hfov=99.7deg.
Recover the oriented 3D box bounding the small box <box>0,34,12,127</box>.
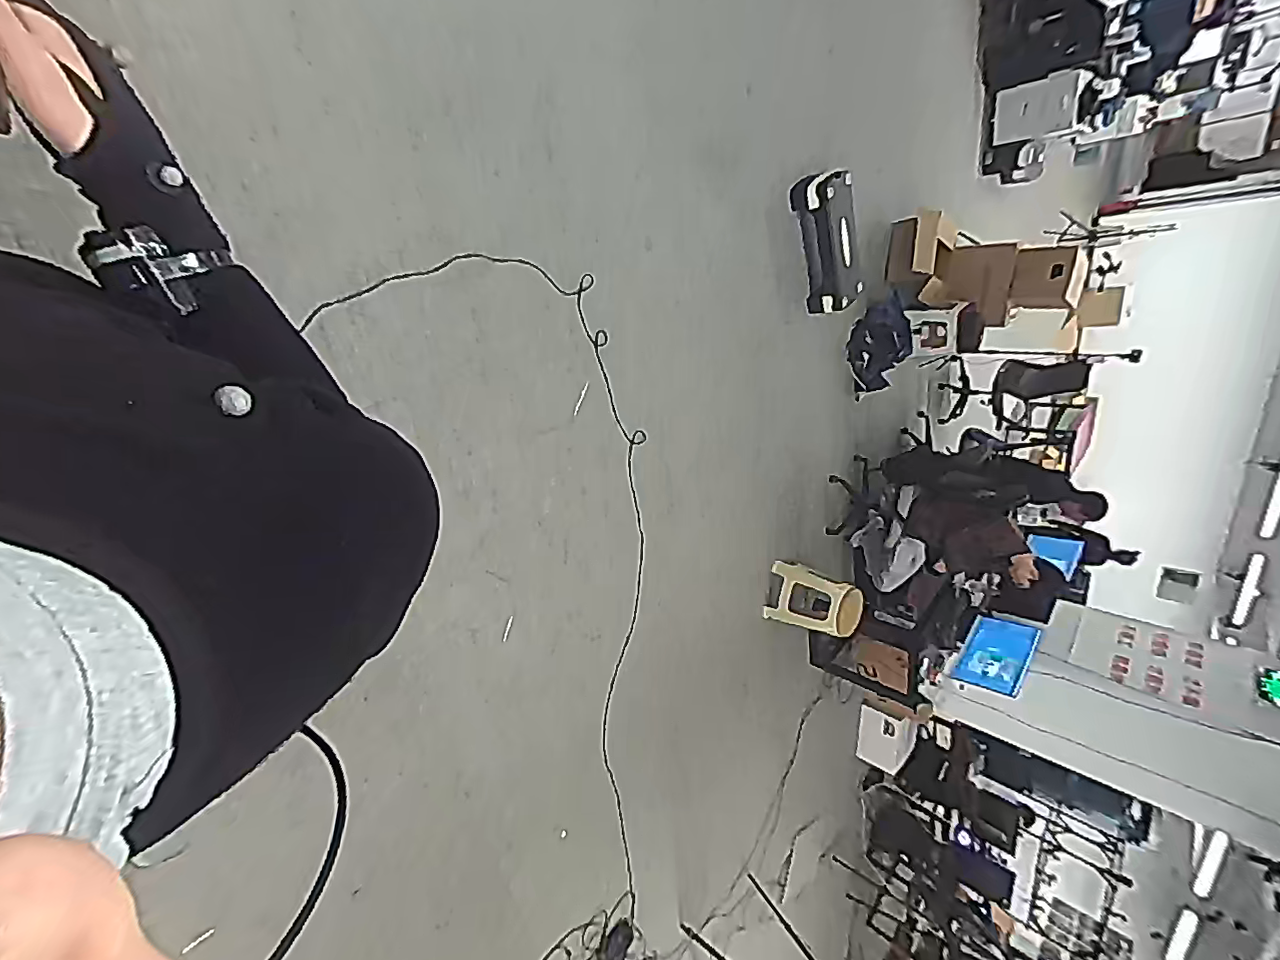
[{"bbox_3d":[-0.461,-0.321,0.268,0.168,0.176,0.179,-10,90,-42],"label":"small box"}]
